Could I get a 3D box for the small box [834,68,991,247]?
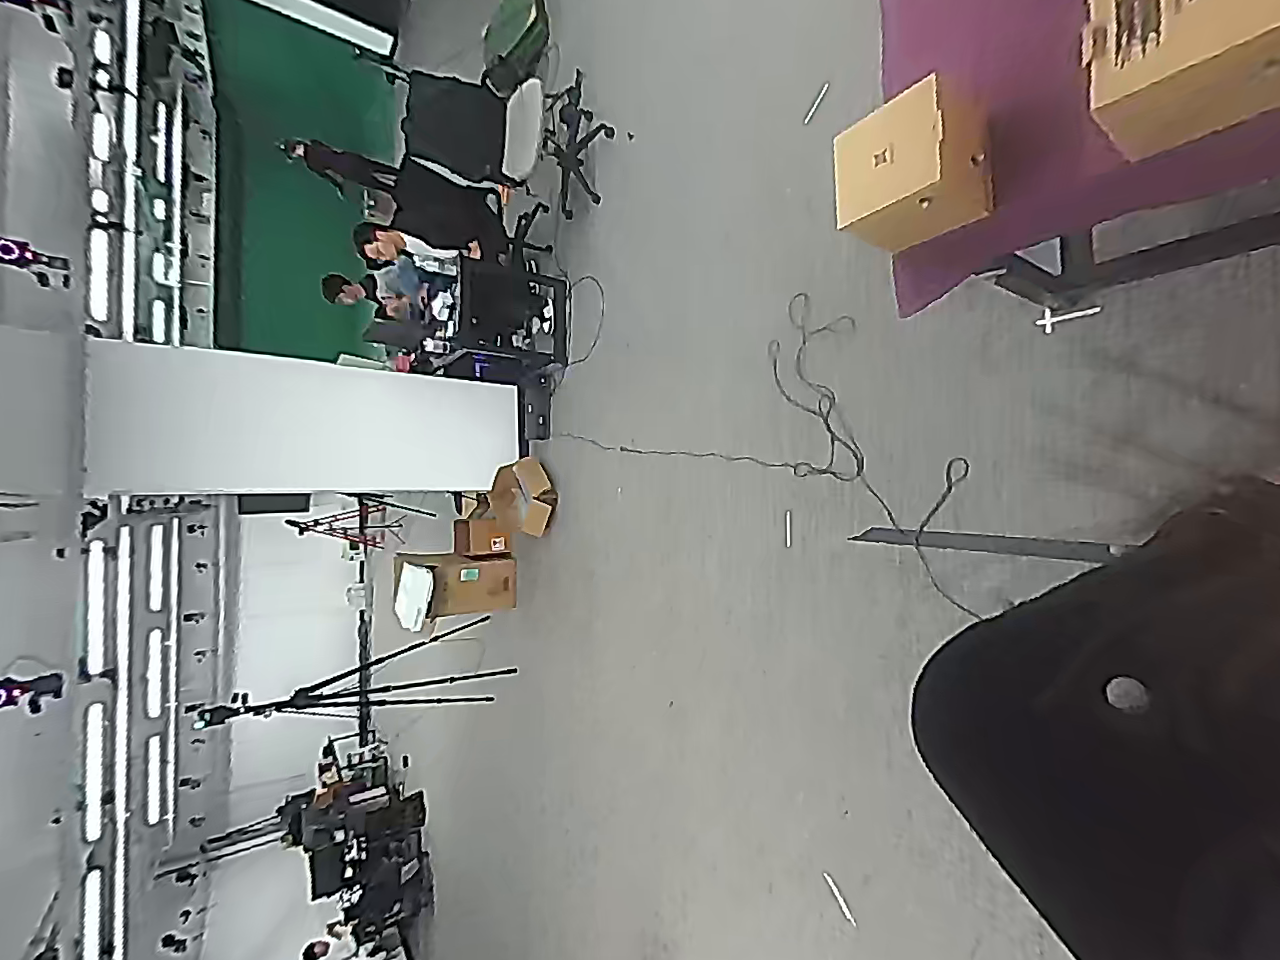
[{"bbox_3d":[0.447,-0.512,0.894,0.179,0.176,0.168,-5,85,54],"label":"small box"}]
